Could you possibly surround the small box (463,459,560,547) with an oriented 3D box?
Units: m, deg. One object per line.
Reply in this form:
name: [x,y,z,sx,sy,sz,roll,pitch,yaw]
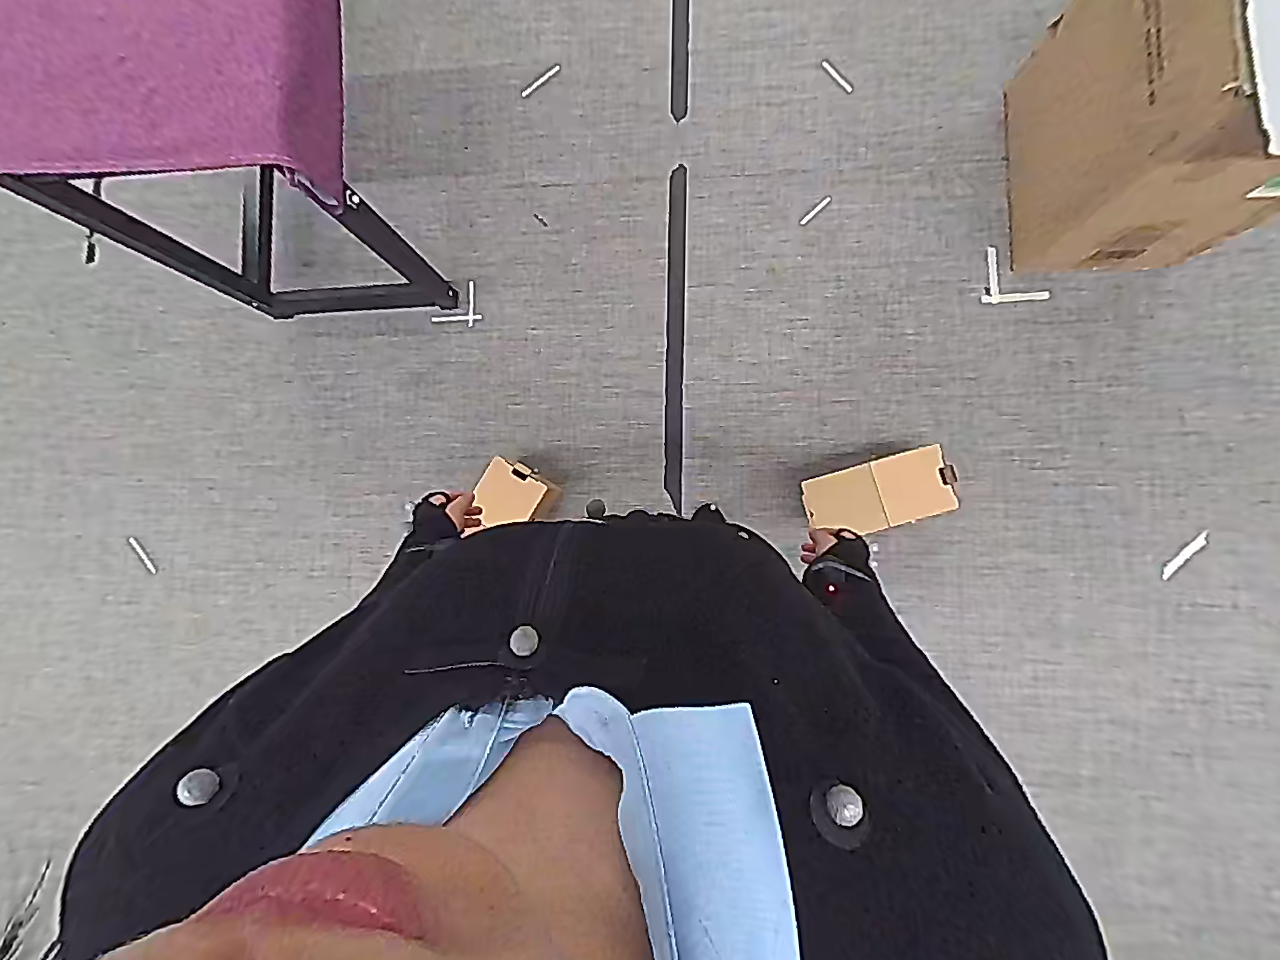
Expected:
small box: [-0.337,0.065,1.463,0.168,0.176,0.179,31,88,6]
